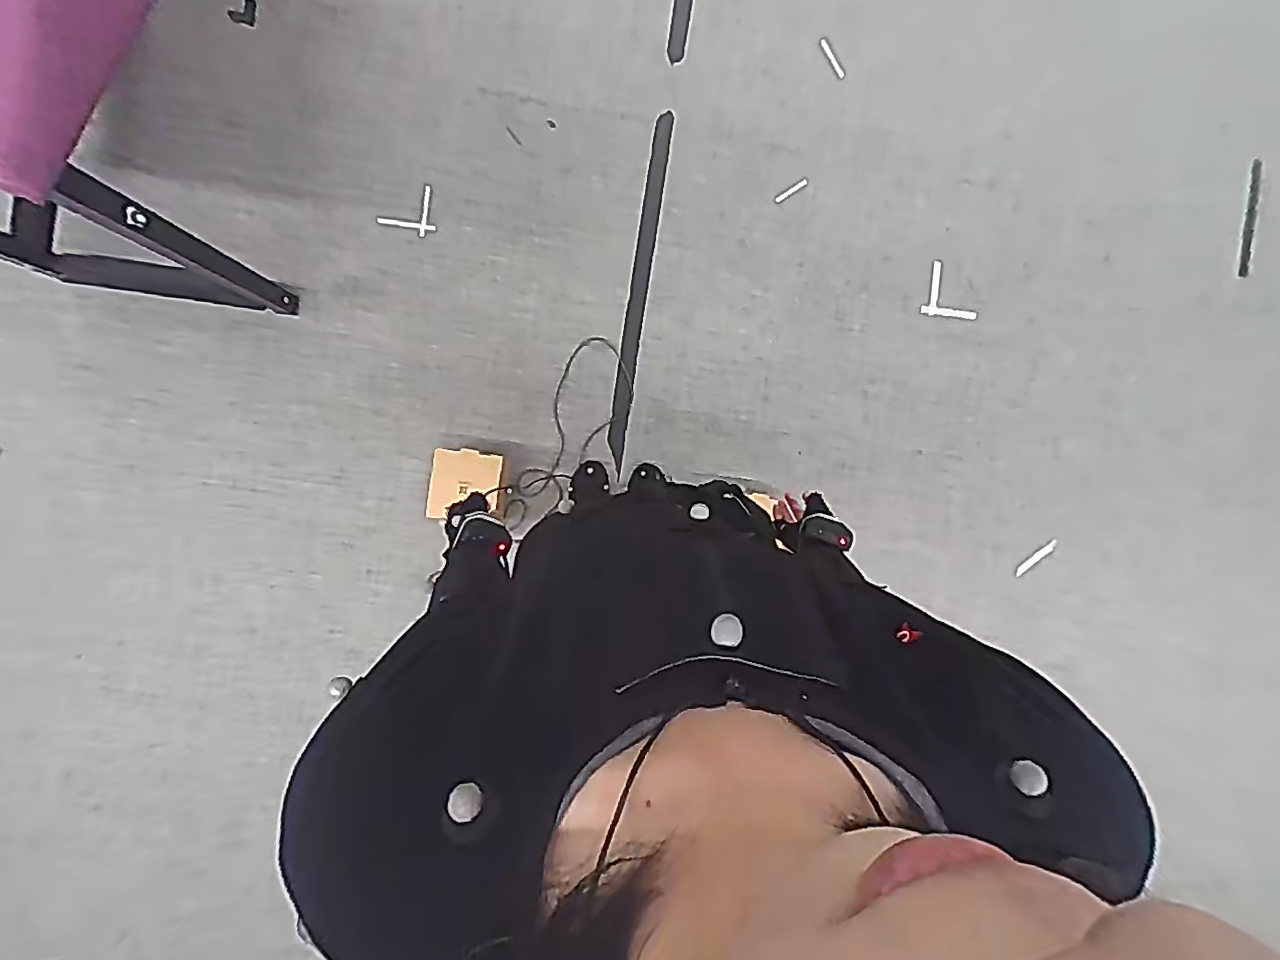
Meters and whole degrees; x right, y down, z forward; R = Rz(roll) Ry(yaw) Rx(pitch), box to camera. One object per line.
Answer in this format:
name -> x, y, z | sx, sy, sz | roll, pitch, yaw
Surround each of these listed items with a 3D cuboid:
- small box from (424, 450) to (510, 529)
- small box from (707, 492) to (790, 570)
small box -> -0.436, 0.026, 1.390 | 0.168, 0.176, 0.179 | 8, 88, -5
small box -> 0.287, 0.132, 1.463 | 0.168, 0.176, 0.179 | 10, 91, -4
